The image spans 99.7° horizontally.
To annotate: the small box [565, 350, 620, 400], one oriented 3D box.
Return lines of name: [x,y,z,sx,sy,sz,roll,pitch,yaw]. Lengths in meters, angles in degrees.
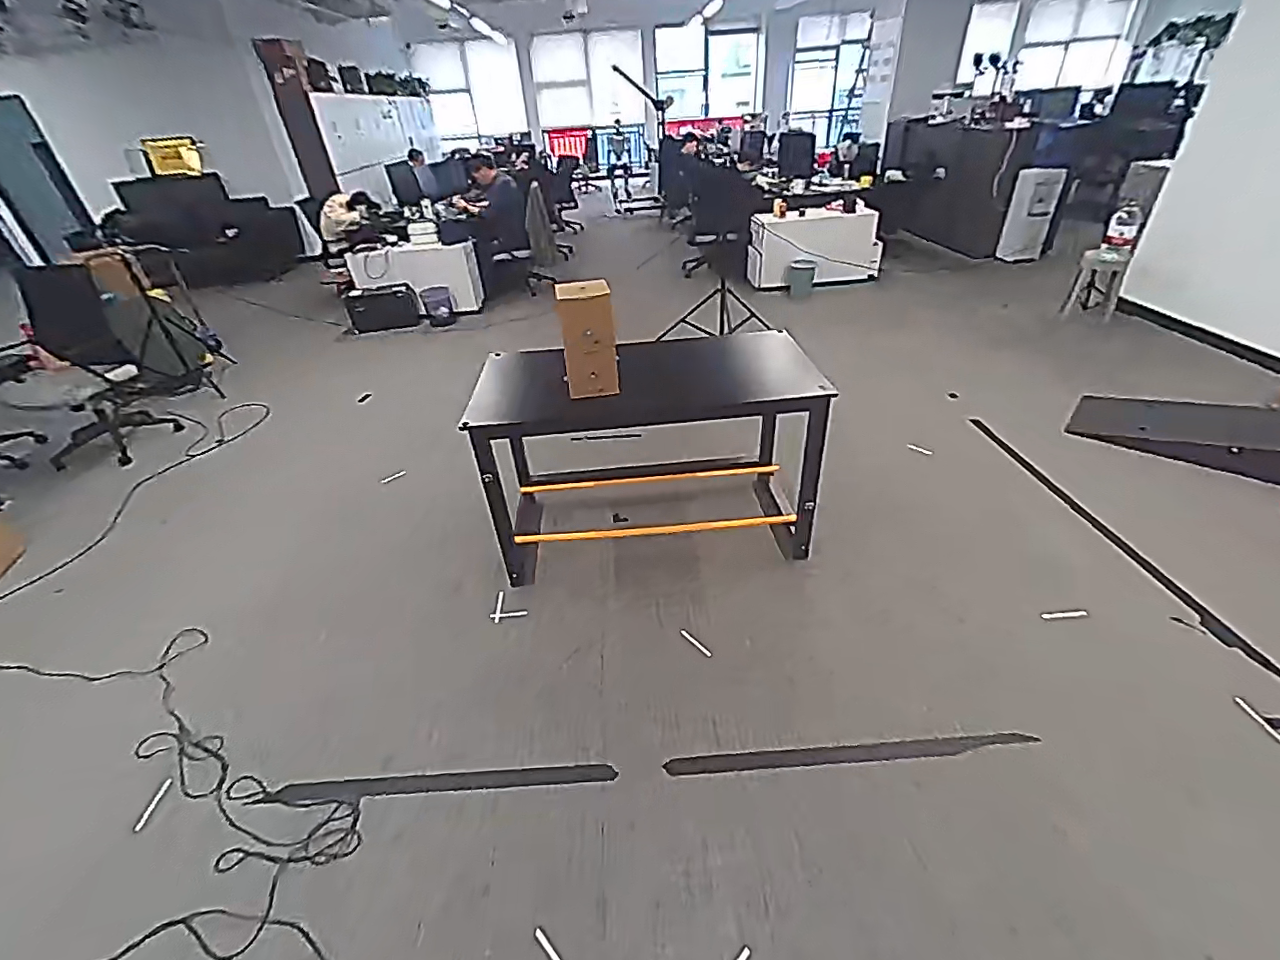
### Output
small box: [-0.164,-0.381,1.854,0.168,0.176,0.179,-8,35,-4]

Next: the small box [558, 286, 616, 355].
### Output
small box: [-0.175,-0.520,1.763,0.168,0.176,0.179,-9,35,-5]
